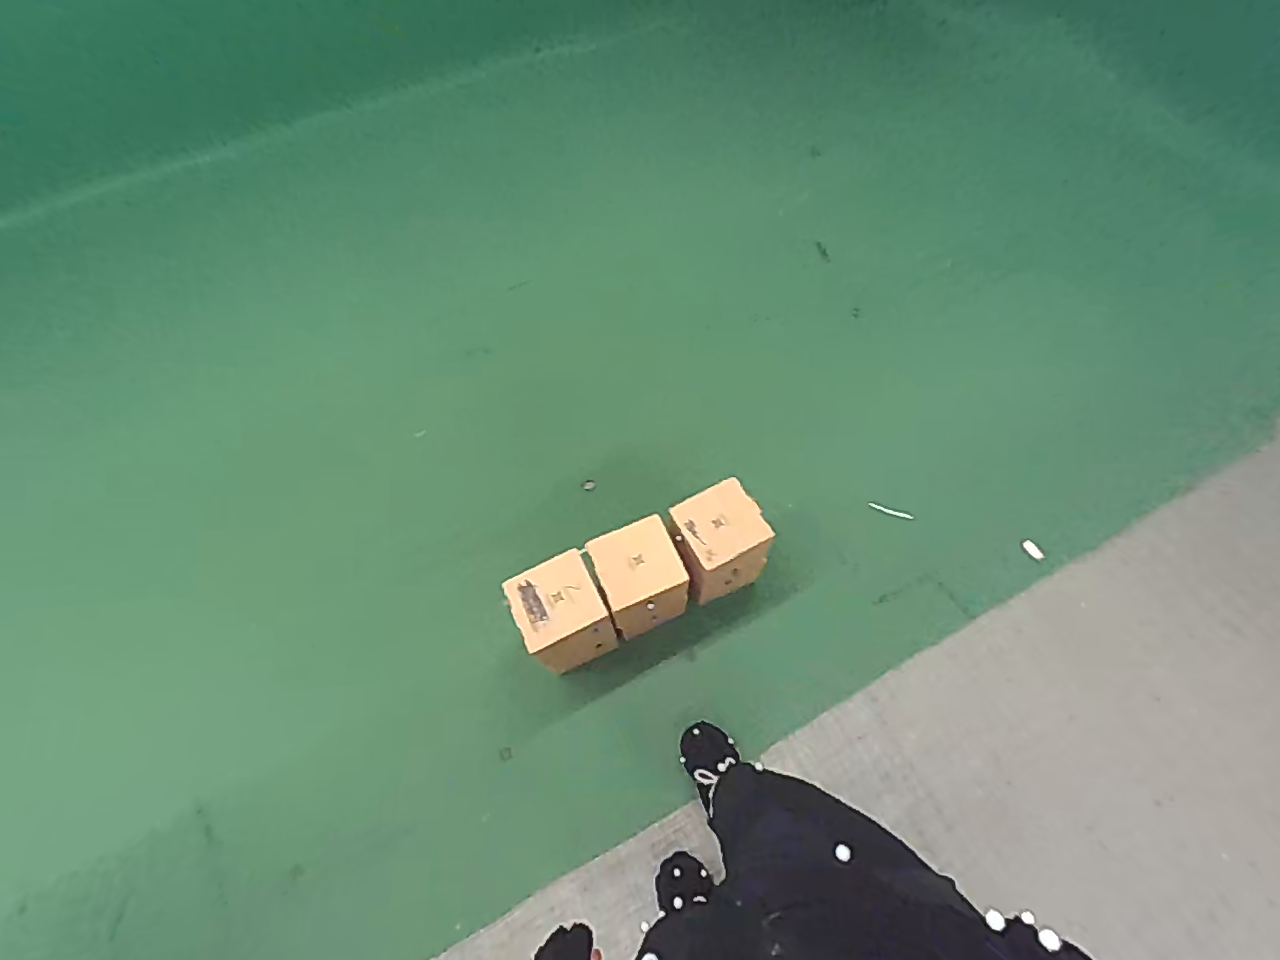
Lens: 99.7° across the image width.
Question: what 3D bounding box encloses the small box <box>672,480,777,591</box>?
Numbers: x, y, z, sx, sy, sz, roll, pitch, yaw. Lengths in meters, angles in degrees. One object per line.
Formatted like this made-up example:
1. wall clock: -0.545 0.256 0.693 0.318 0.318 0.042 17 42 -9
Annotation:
1. small box: 0.185 0.133 1.254 0.179 0.176 0.168 -25 64 -12
